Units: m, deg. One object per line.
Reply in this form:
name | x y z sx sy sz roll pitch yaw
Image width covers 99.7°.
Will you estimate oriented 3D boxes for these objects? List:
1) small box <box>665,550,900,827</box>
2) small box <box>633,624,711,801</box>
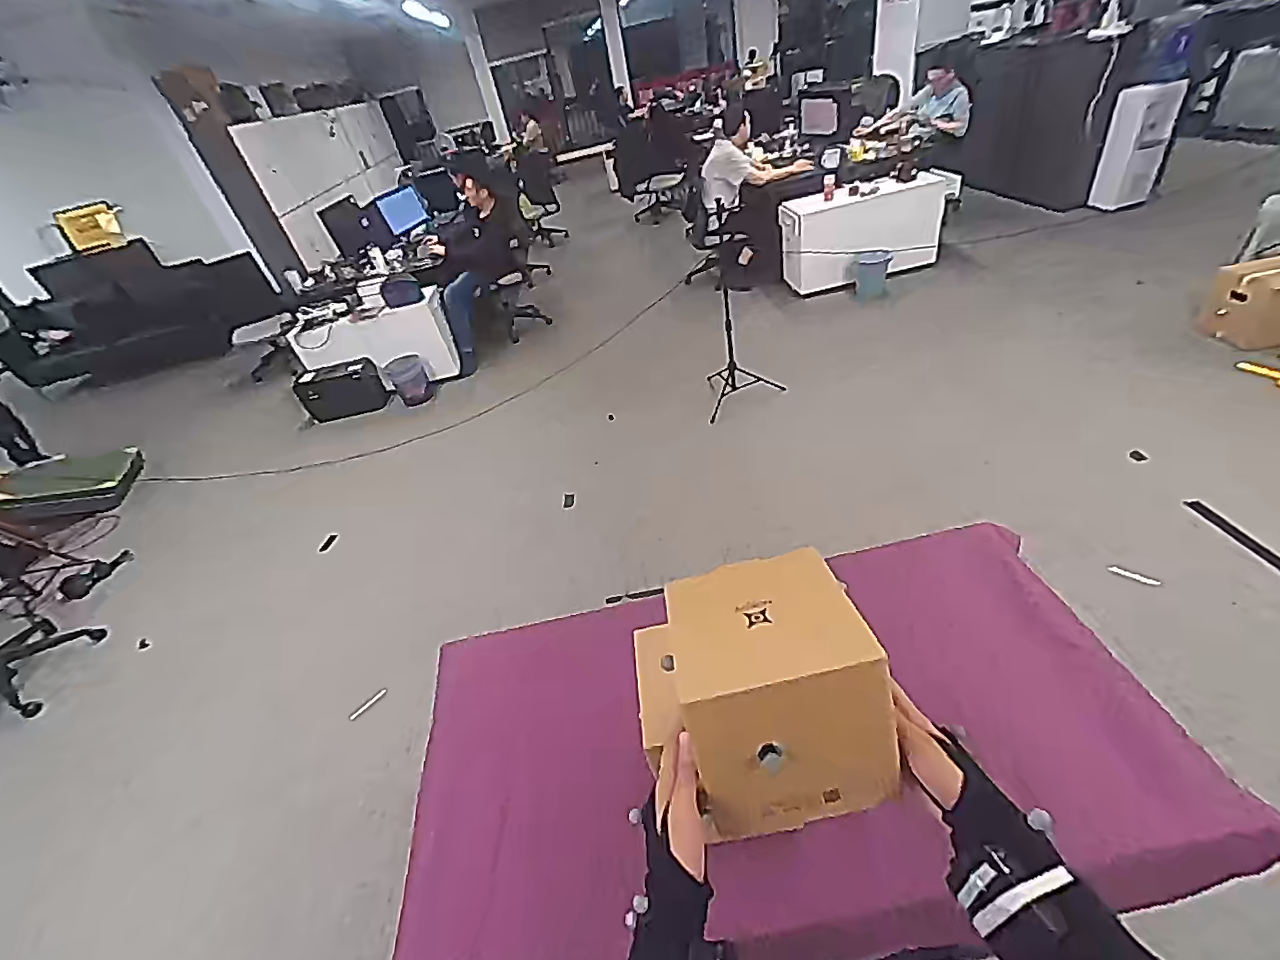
small box | 0.129 0.198 0.521 0.168 0.176 0.179 -15 21 4
small box | 0.096 0.303 0.724 0.179 0.176 0.168 -11 38 4
